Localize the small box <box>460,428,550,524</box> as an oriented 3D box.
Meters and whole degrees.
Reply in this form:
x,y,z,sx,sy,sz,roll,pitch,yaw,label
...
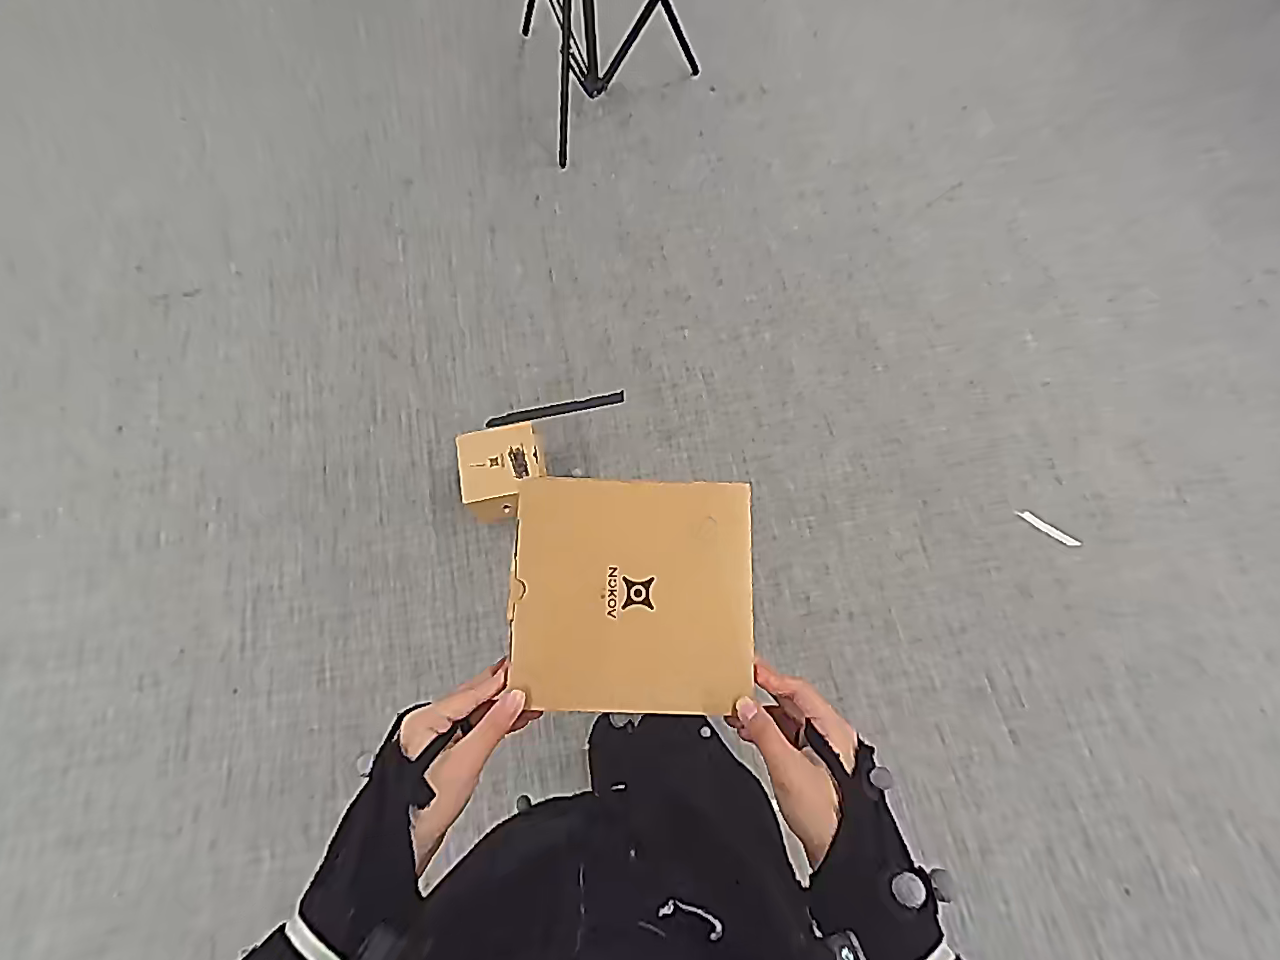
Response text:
x,y,z,sx,sy,sz,roll,pitch,yaw,label
-0.307,-0.005,1.277,0.179,0.176,0.168,-11,72,-2,small box

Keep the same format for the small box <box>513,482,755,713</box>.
x,y,z,sx,sy,sz,roll,pitch,yaw,label
-0.001,0.097,0.478,0.179,0.176,0.168,1,79,2,small box
